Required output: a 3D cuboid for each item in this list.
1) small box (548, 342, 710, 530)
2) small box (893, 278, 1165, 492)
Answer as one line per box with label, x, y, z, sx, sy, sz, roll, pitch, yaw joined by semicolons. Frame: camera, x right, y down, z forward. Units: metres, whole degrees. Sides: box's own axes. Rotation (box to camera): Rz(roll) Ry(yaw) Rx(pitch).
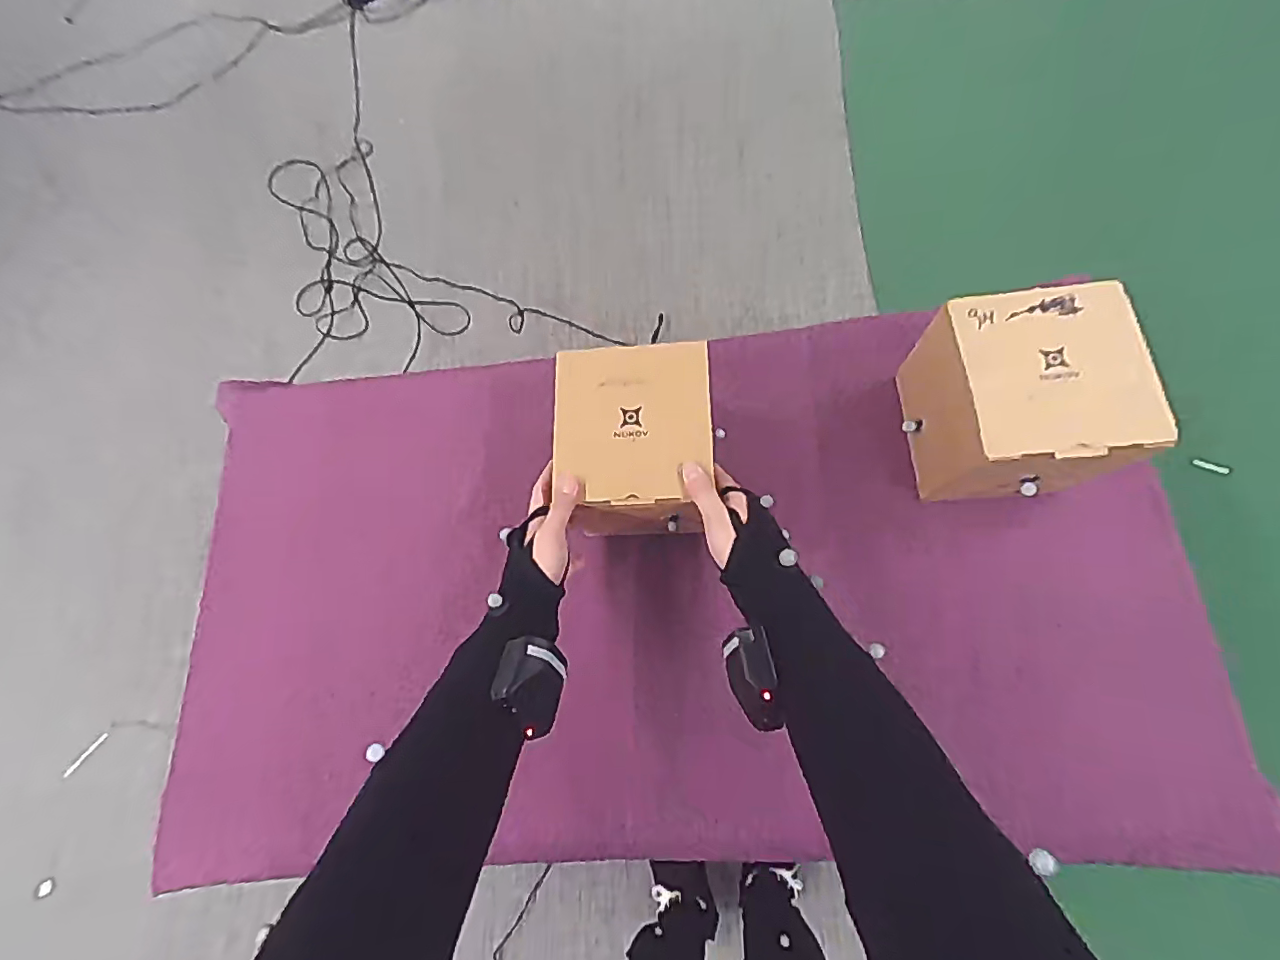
small box;-0.003;-0.038;0.636;0.168;0.176;0.179;-3;73;6
small box;0.399;-0.089;0.594;0.168;0.176;0.179;-5;74;6
